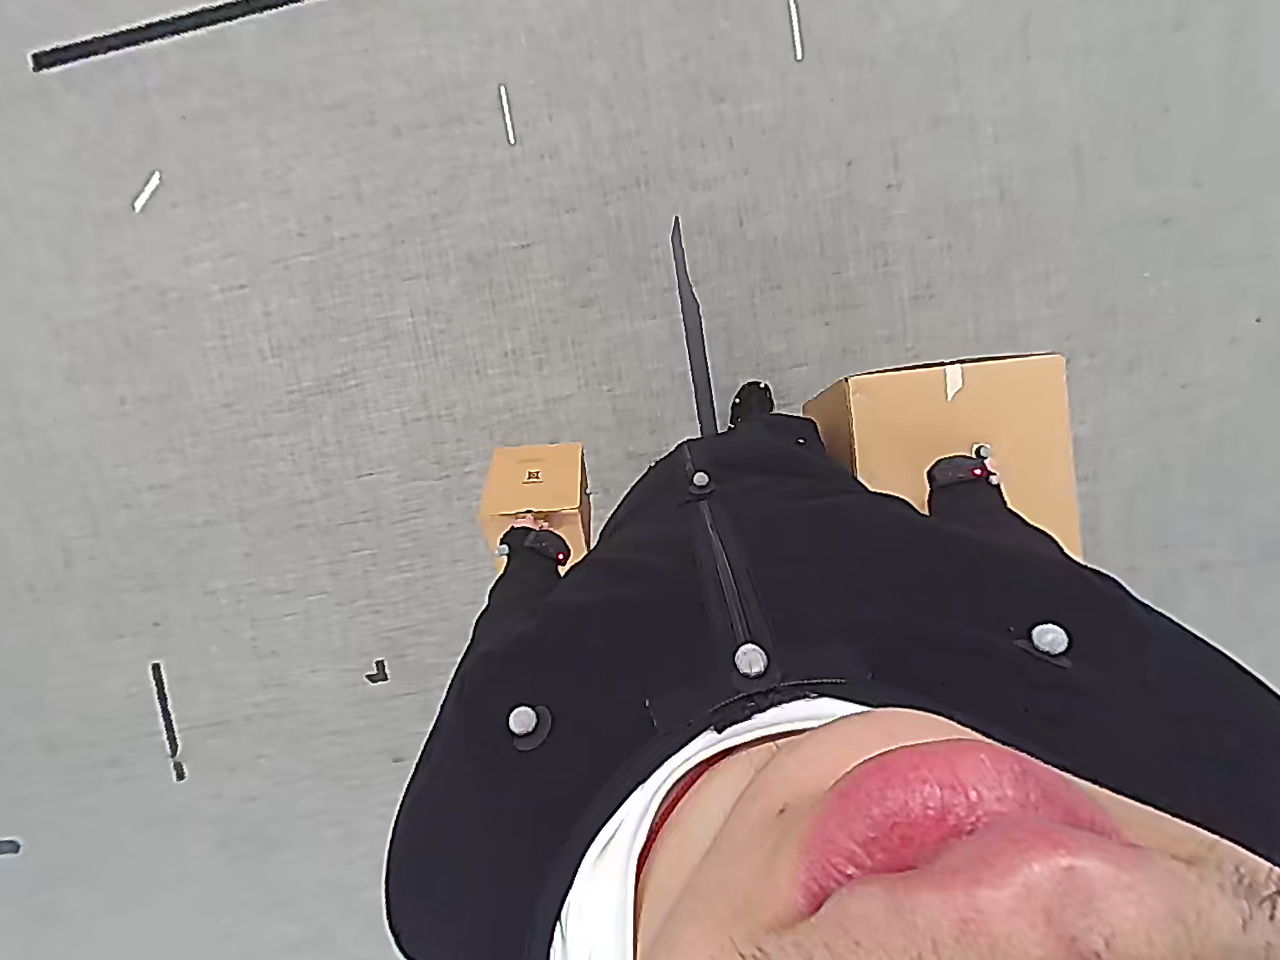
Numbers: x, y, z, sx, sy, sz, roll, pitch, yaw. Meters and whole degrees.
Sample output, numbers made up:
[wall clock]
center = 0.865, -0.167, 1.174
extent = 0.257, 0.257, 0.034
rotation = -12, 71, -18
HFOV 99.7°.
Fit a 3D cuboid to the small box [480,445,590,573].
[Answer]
[small box]
center = -0.180, 0.058, 0.991
extent = 0.168, 0.179, 0.176
rotation = -4, 131, -2
